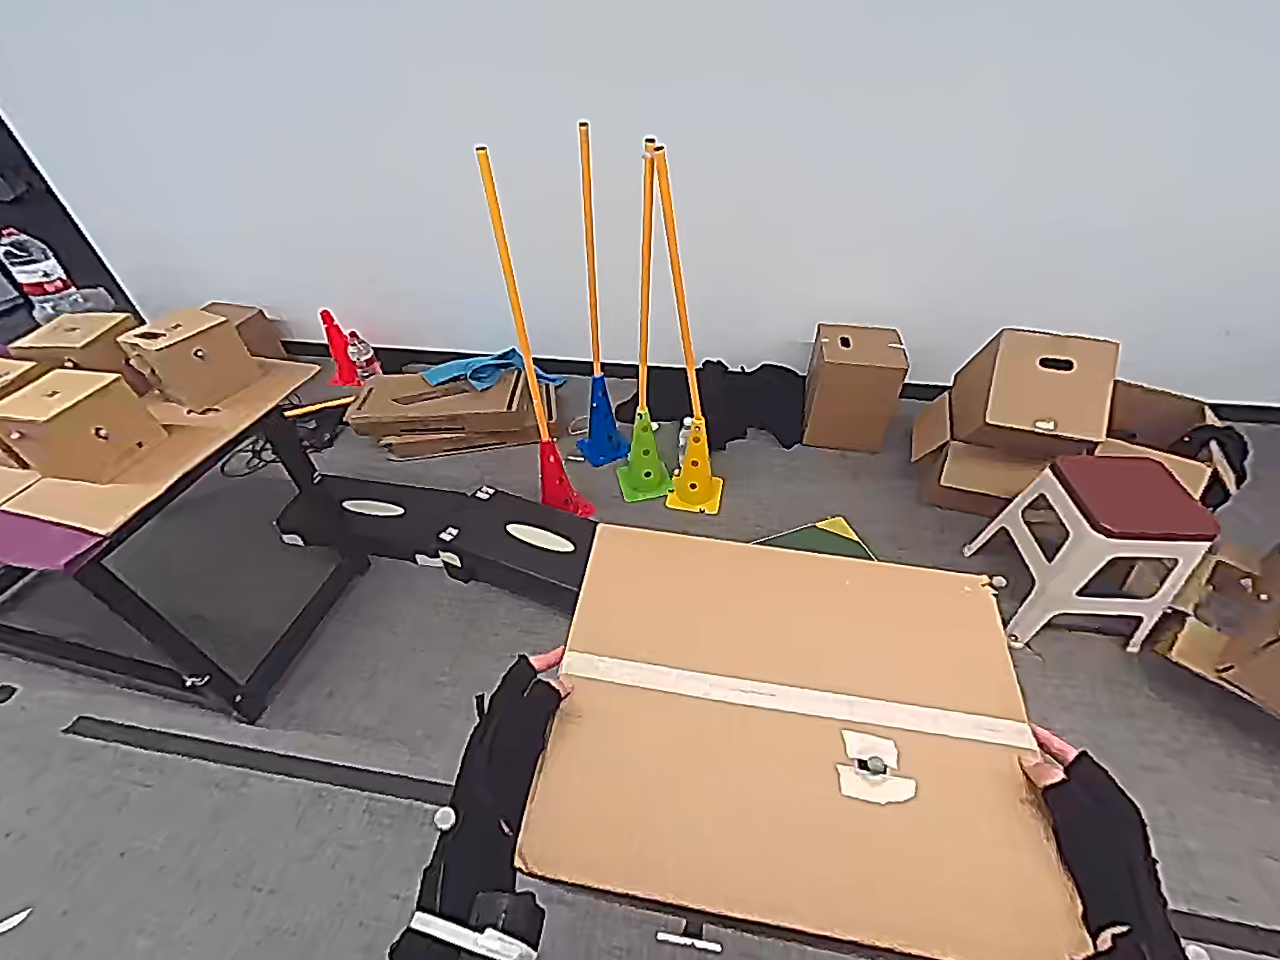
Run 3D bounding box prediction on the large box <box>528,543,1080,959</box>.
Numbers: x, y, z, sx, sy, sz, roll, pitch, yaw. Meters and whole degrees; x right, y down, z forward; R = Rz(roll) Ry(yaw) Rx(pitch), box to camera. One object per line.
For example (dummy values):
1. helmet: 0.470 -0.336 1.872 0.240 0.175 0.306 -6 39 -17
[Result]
1. large box: 0.129 0.301 0.594 0.408 0.320 0.320 8 52 6
